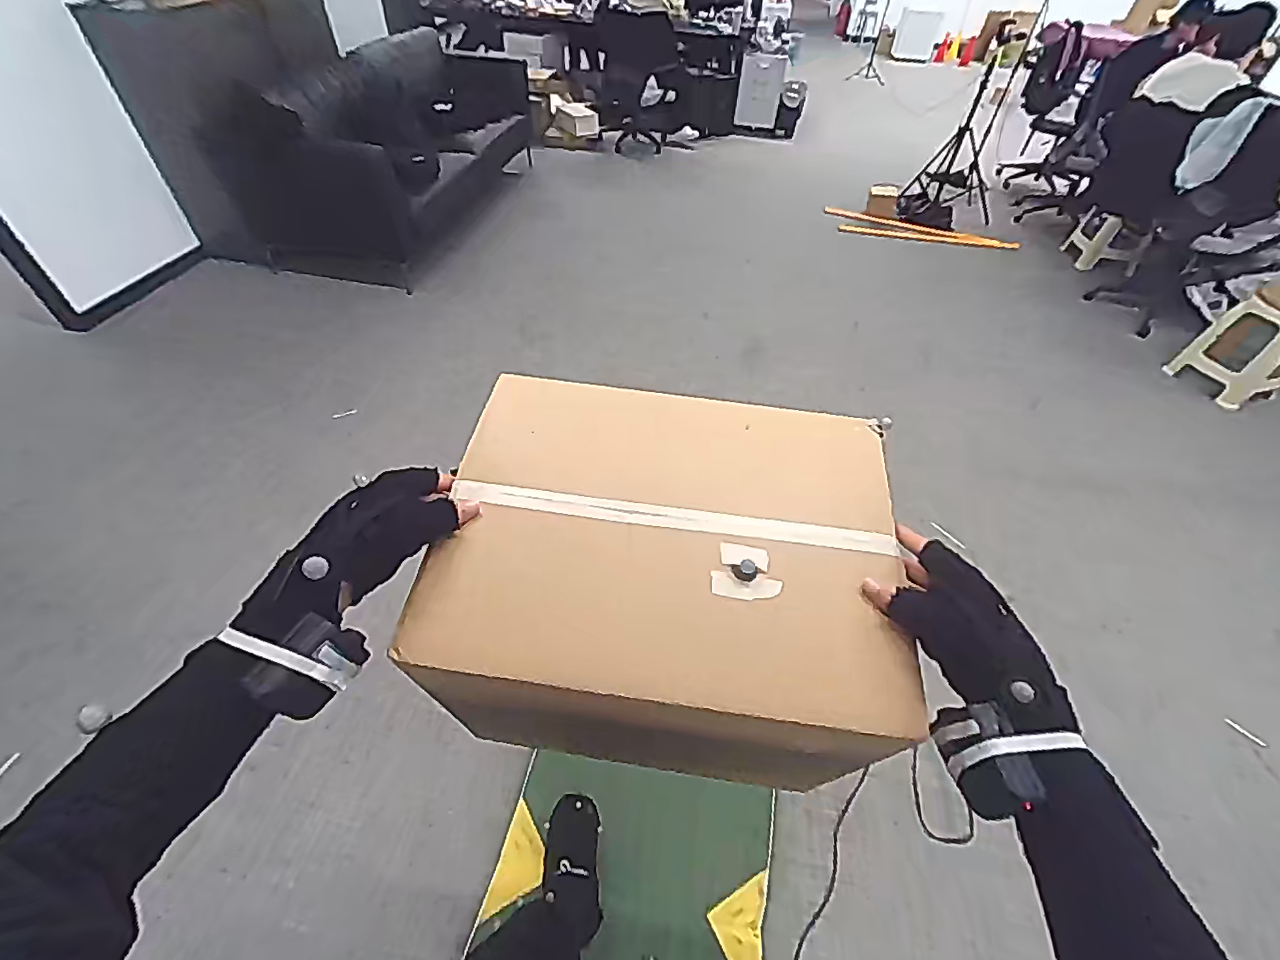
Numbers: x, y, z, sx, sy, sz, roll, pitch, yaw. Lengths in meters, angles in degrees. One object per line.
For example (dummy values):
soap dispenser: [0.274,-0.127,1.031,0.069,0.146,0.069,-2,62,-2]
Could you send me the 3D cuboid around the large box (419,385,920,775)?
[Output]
large box: [0.028,0.125,0.626,0.408,0.320,0.320,8,55,2]
